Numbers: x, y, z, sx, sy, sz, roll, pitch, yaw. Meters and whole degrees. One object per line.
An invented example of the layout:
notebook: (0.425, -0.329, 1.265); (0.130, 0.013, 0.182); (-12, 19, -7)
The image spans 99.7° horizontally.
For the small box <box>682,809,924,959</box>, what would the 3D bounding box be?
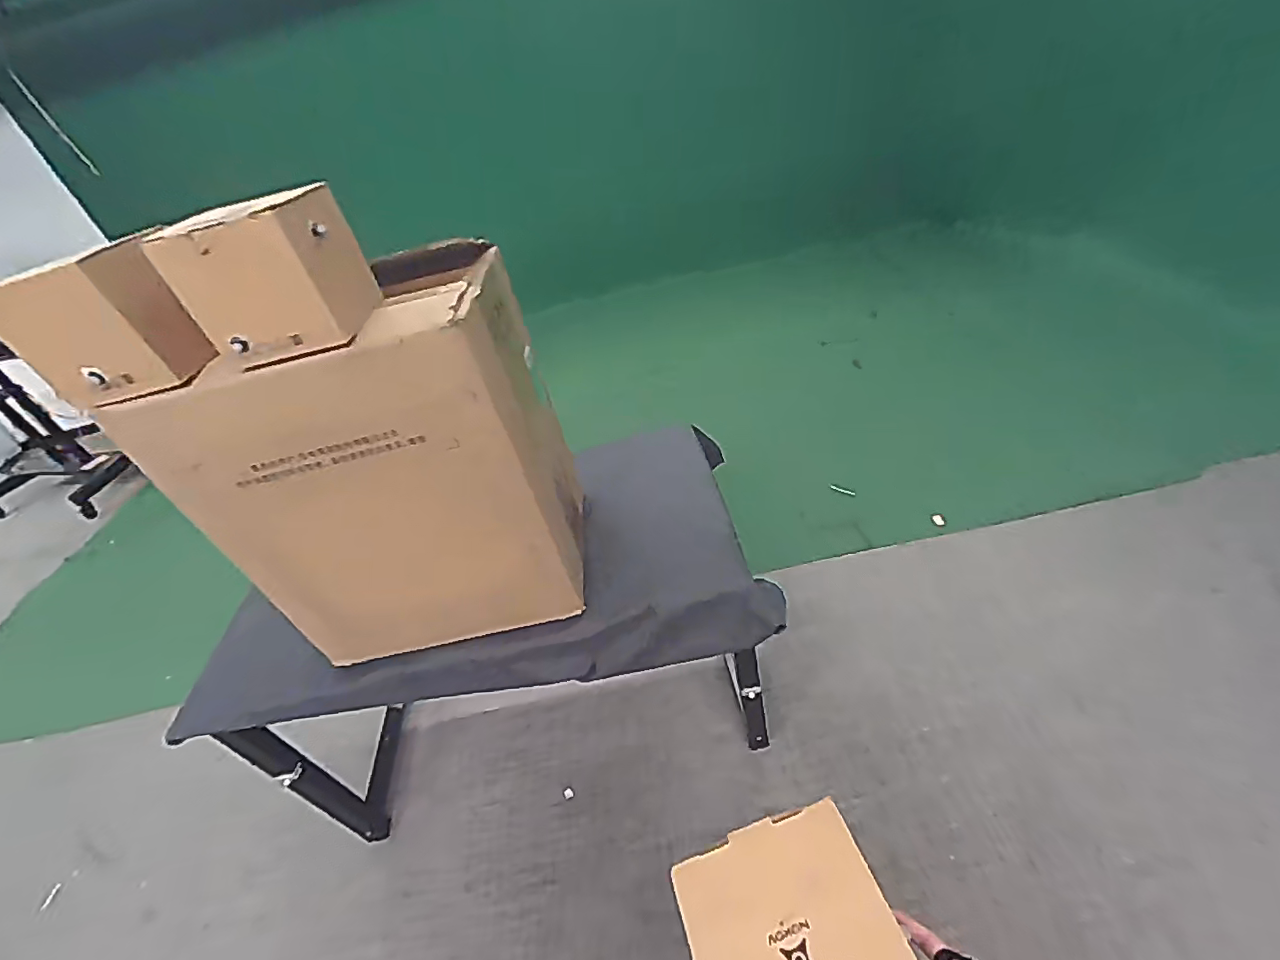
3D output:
small box: (0.156, 0.438, 0.470); (0.168, 0.176, 0.179); (-25, 35, -2)

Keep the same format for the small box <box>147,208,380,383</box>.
small box: (-0.487, -0.247, 0.738); (0.168, 0.176, 0.179); (-13, 36, 2)

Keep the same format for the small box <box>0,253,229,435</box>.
small box: (-0.711, -0.188, 0.751); (0.168, 0.176, 0.179); (-15, 38, 5)
